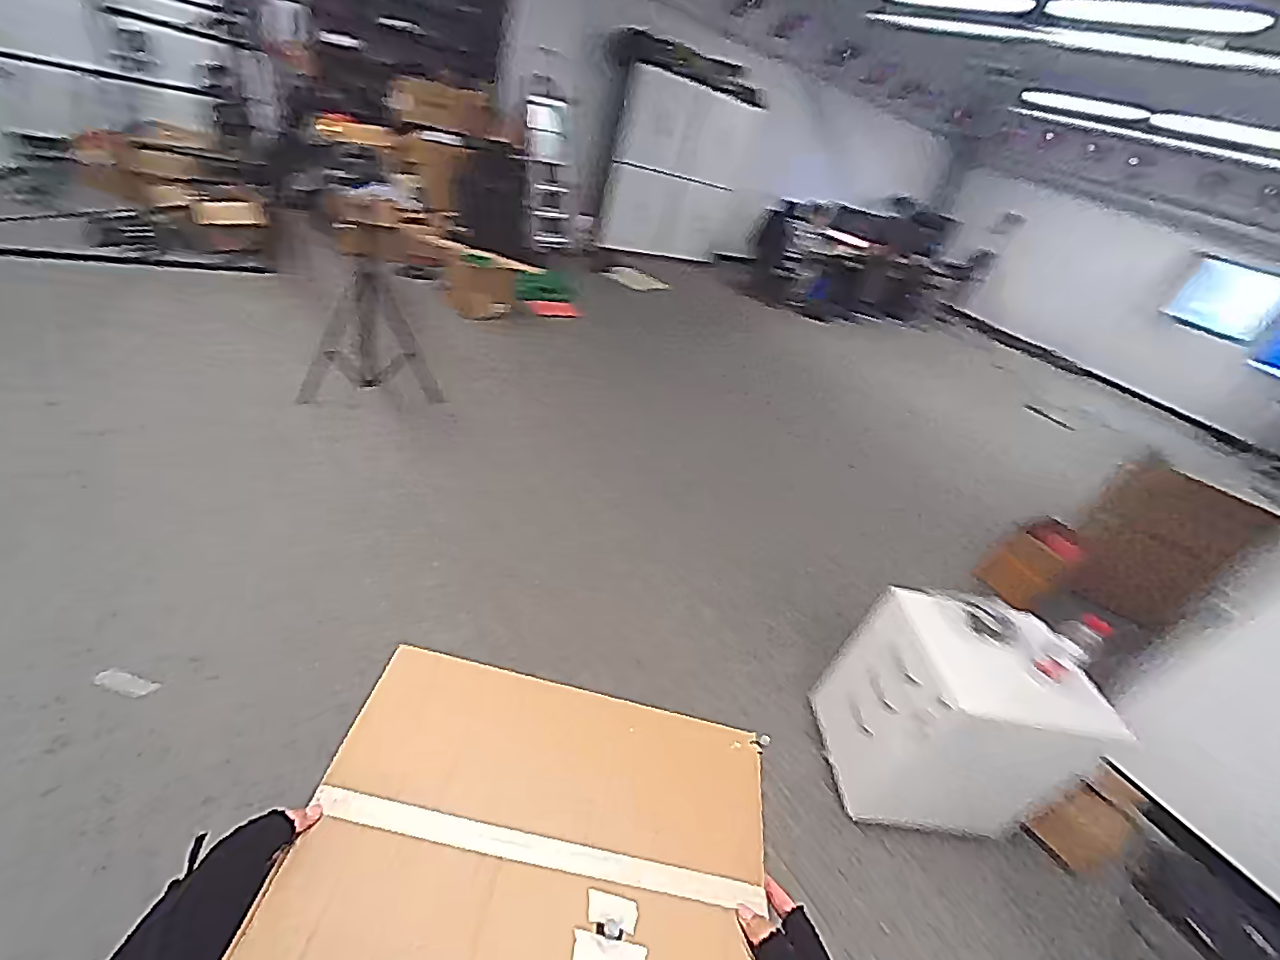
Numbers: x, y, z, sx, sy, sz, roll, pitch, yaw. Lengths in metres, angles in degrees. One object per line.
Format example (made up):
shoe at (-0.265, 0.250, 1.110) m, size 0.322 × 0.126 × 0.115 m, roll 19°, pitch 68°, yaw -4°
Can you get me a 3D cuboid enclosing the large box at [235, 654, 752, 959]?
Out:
large box at (-0.128, 0.440, 0.574) m, size 0.408 × 0.320 × 0.320 m, roll 15°, pitch 39°, yaw -4°
